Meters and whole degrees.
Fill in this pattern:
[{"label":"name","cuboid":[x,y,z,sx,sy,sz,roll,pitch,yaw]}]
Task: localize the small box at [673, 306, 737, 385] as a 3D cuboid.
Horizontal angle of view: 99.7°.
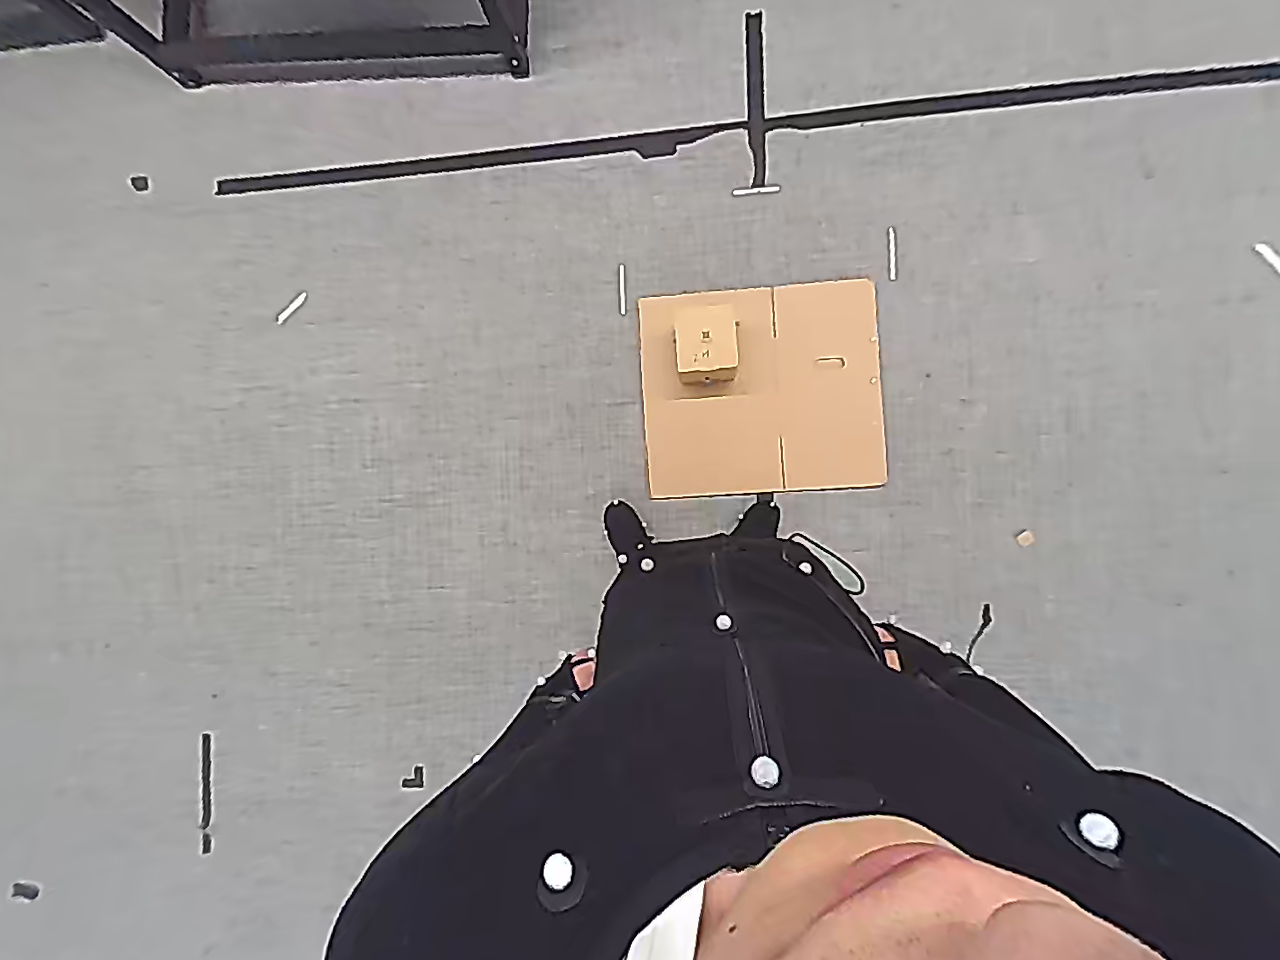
[{"label":"small box","cuboid":[0.182,-0.377,1.539,0.168,0.176,0.179,-4,90,6]}]
